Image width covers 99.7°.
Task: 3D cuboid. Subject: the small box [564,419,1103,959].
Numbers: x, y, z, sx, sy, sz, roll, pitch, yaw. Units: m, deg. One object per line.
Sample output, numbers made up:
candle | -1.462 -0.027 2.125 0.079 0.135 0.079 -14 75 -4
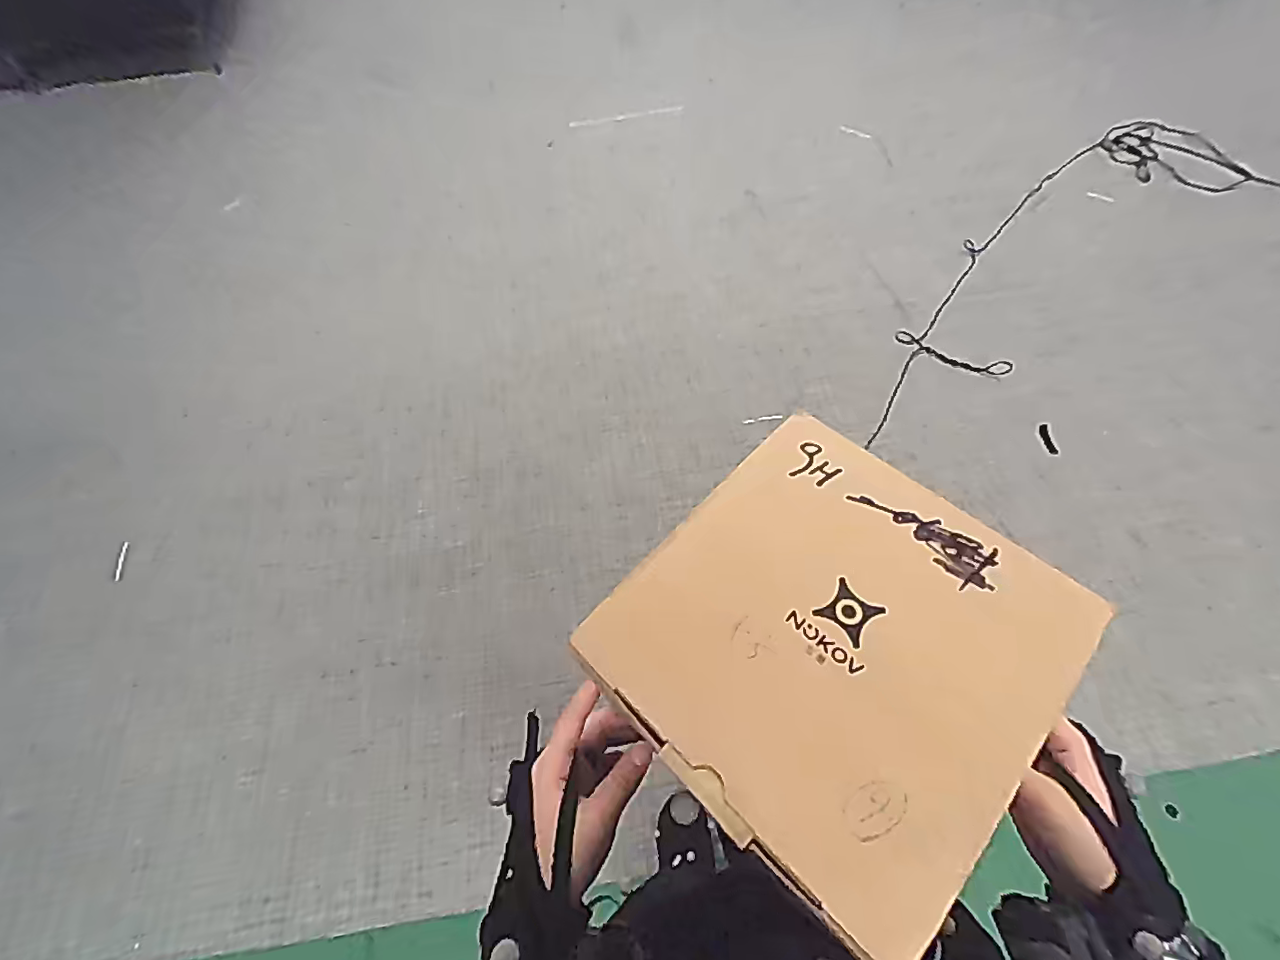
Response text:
small box | 0.088 0.108 0.304 0.168 0.176 0.179 39 70 24
